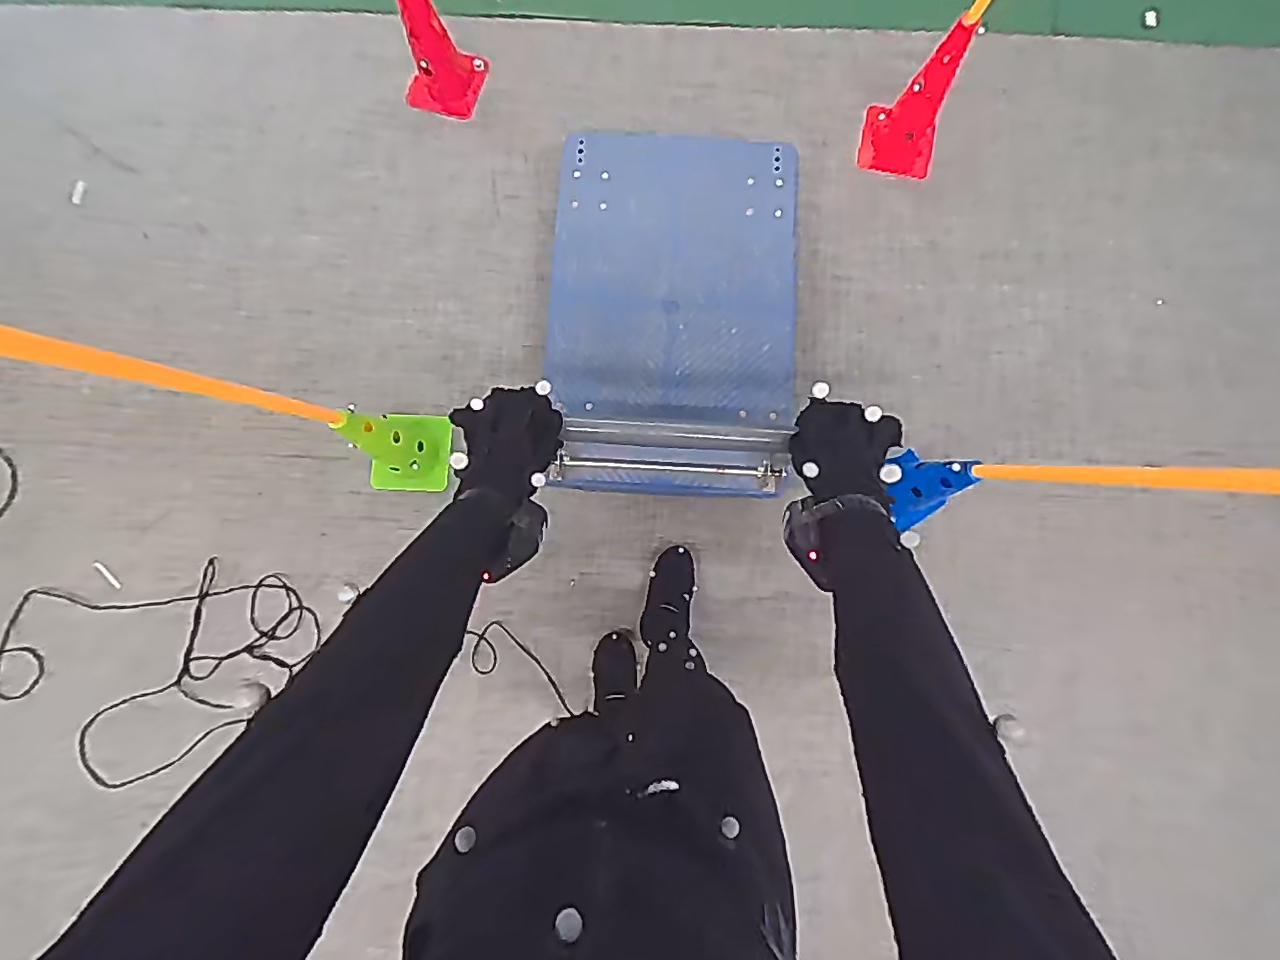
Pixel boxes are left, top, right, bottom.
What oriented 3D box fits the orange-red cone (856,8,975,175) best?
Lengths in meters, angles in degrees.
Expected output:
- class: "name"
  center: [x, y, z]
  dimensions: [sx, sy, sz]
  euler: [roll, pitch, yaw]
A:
- class: "orange-red cone"
  center: [0.706, -0.968, 1.328]
  dimensions: [0.198, 0.360, 0.199]
  euler: [14, 84, 4]
